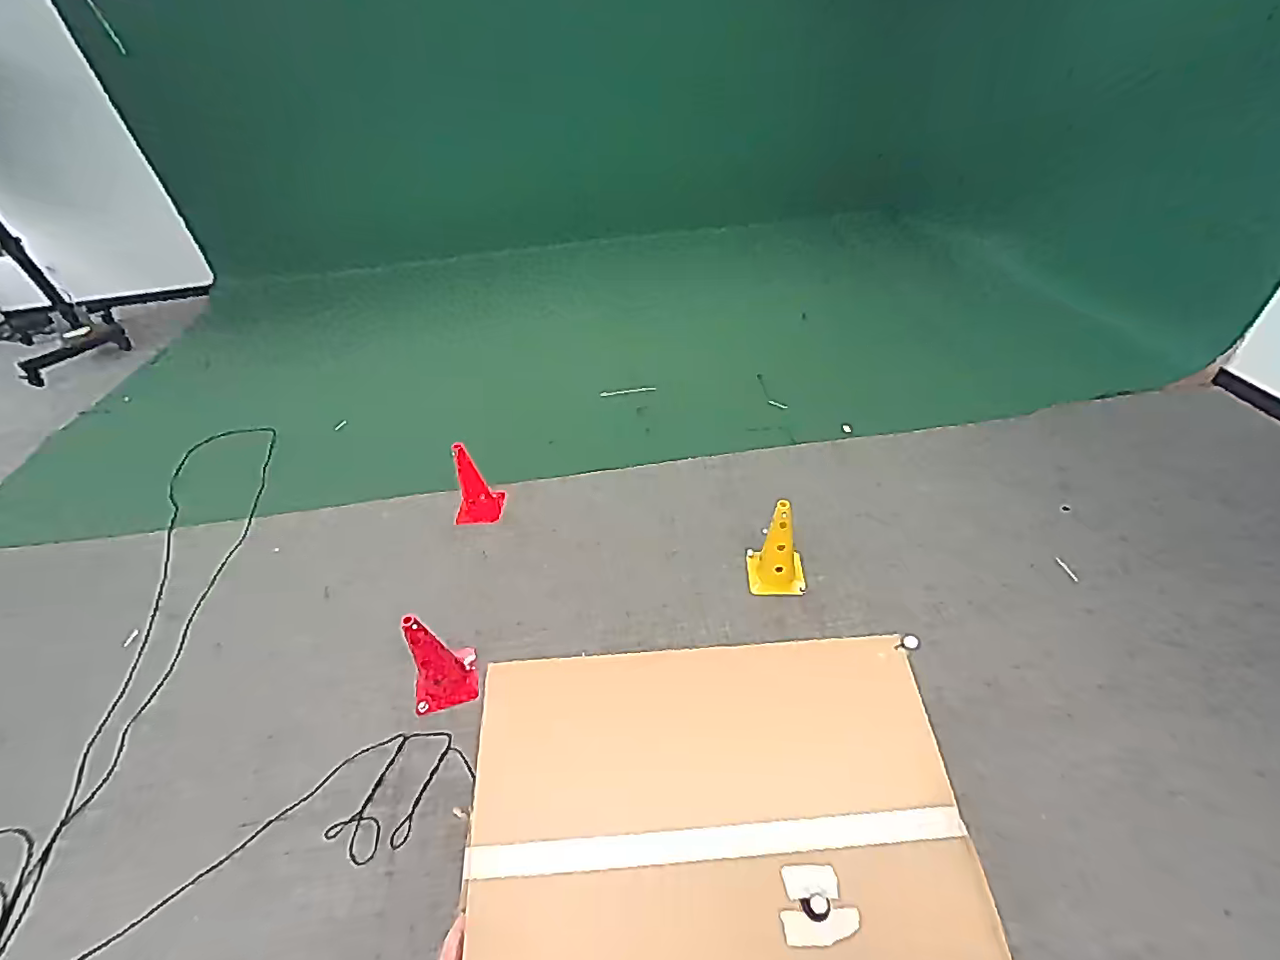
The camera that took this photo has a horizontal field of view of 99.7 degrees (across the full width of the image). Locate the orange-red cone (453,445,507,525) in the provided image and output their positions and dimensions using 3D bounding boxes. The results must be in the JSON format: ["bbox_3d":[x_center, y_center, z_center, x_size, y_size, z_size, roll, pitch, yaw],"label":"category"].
[{"bbox_3d":[-0.726,0.002,2.307,0.199,0.360,0.198,-4,41,5],"label":"orange-red cone"}]

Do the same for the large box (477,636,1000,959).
[{"bbox_3d":[0.067,0.381,0.575,0.408,0.320,0.320,-4,57,-2],"label":"large box"}]
